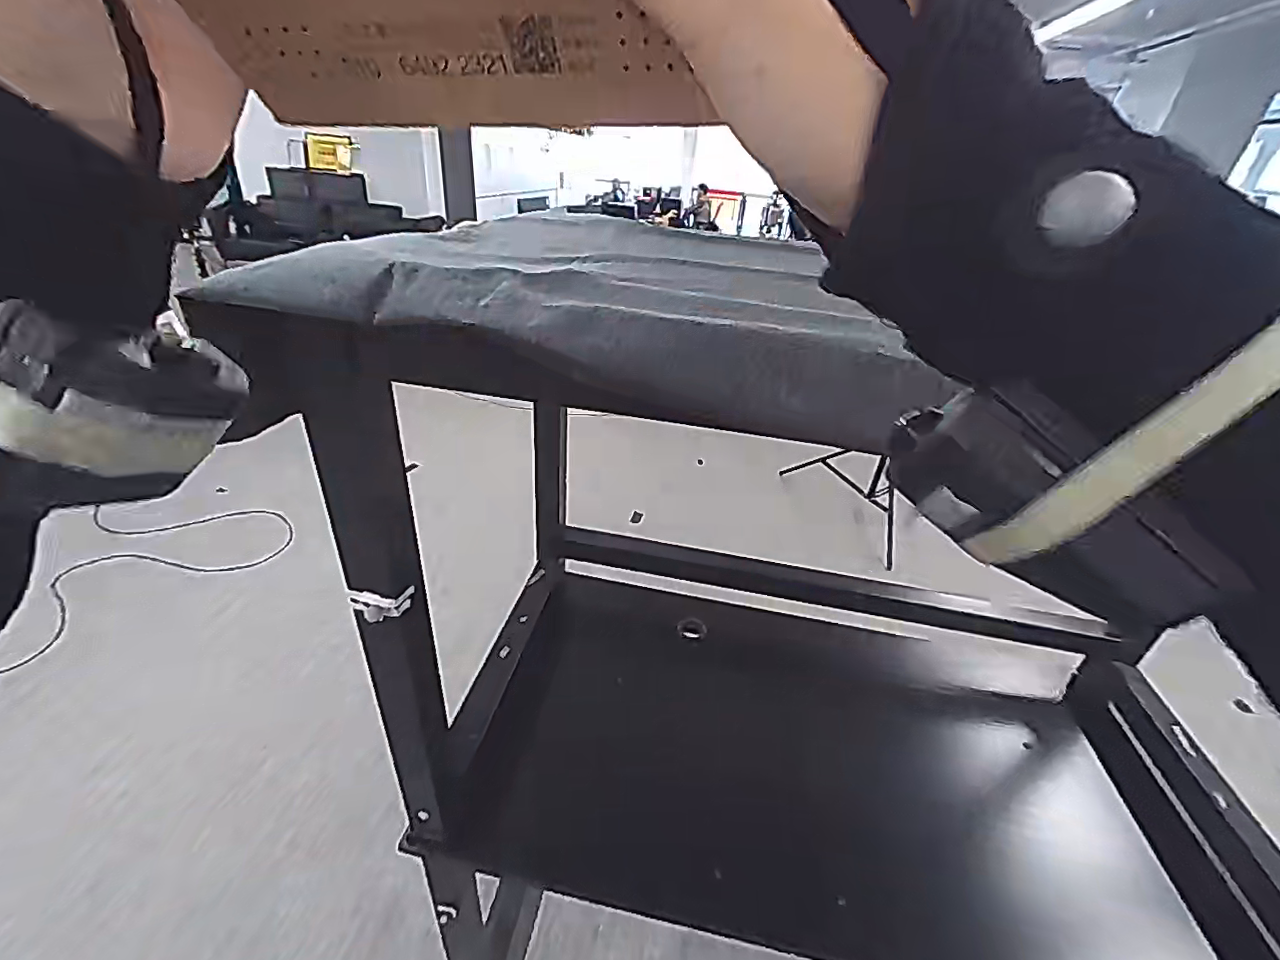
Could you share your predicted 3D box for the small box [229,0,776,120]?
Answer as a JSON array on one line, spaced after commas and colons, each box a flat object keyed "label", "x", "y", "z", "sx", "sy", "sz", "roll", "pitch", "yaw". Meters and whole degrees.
[{"label": "small box", "x": -0.040, "y": -0.222, "z": 0.132, "sx": 0.168, "sy": 0.176, "sz": 0.179, "roll": 7, "pitch": 70, "yaw": 11}]
